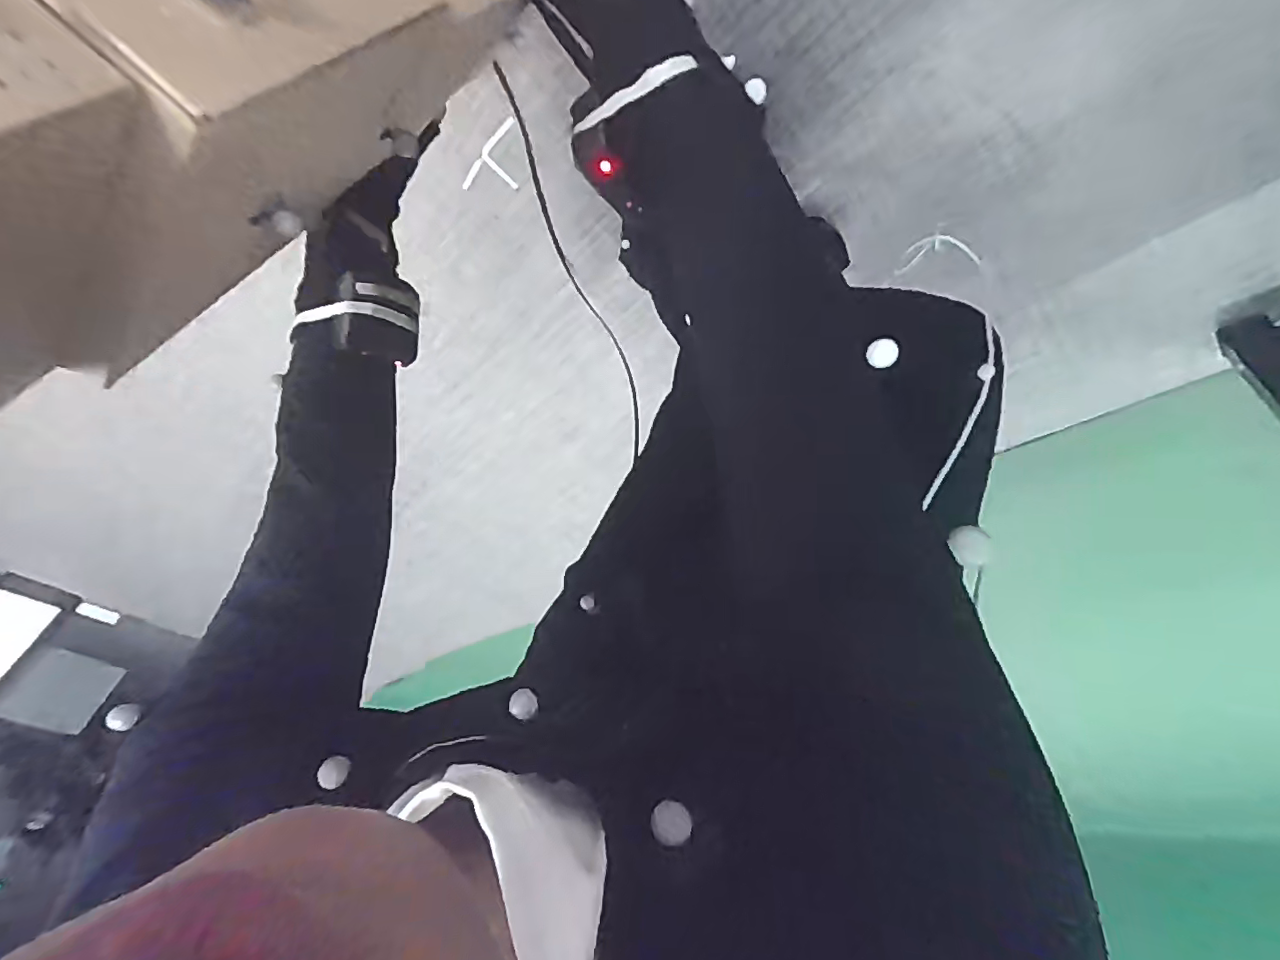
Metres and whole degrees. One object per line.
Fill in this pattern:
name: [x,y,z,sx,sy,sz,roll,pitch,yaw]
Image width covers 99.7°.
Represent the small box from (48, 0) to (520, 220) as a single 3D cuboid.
small box: [-0.189,-0.299,0.310,0.179,0.176,0.168,-19,131,33]
